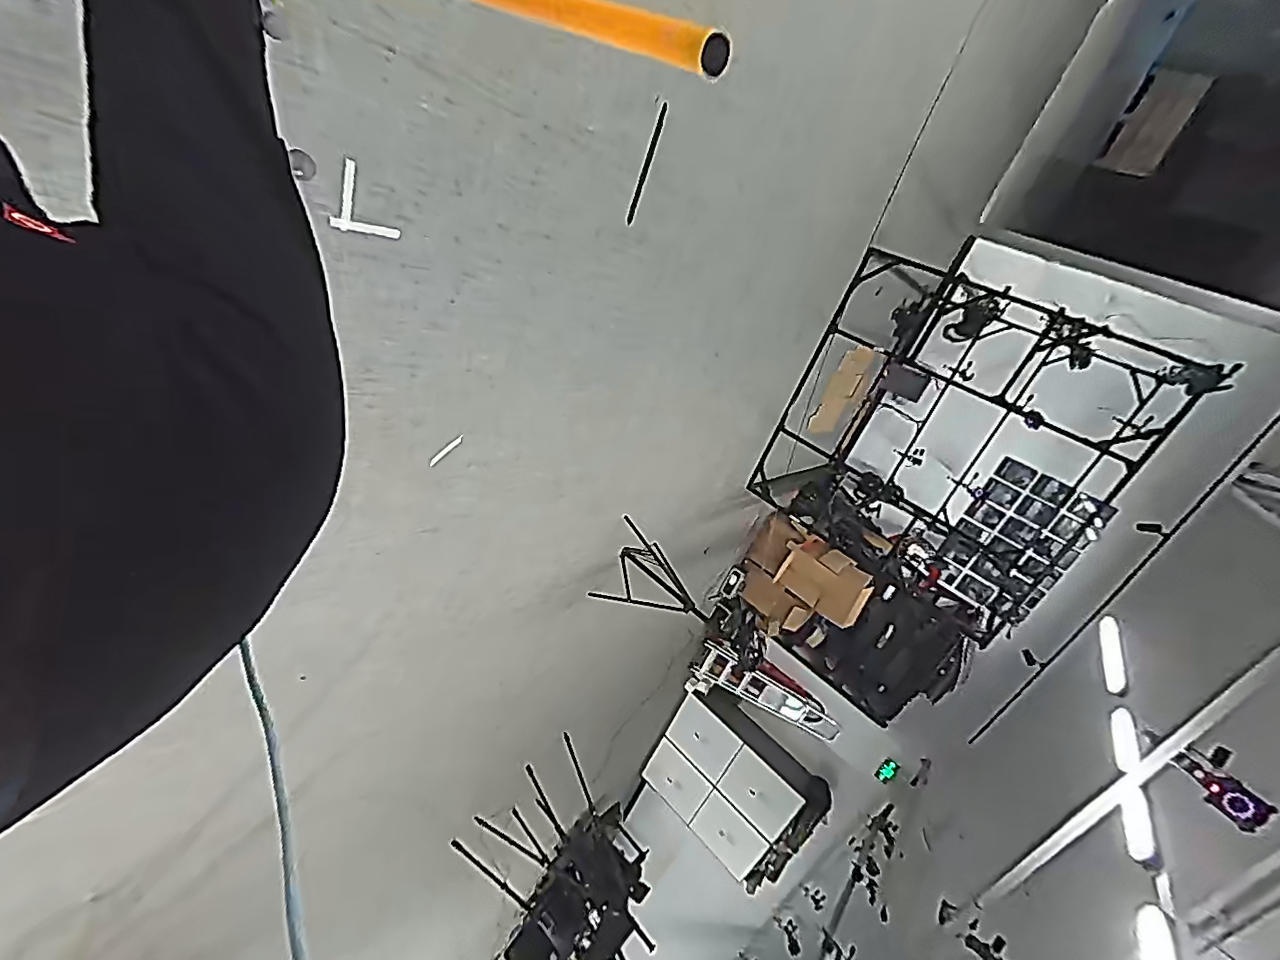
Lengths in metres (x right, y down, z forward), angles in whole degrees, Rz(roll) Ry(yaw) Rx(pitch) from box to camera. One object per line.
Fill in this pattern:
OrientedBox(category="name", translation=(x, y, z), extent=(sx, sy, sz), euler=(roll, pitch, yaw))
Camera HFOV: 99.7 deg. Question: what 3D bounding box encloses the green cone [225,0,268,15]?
OrientedBox(category="green cone", translation=(-0.617, -0.870, 0.848), extent=(0.202, 0.368, 0.200), euler=(-8, 128, -55))
